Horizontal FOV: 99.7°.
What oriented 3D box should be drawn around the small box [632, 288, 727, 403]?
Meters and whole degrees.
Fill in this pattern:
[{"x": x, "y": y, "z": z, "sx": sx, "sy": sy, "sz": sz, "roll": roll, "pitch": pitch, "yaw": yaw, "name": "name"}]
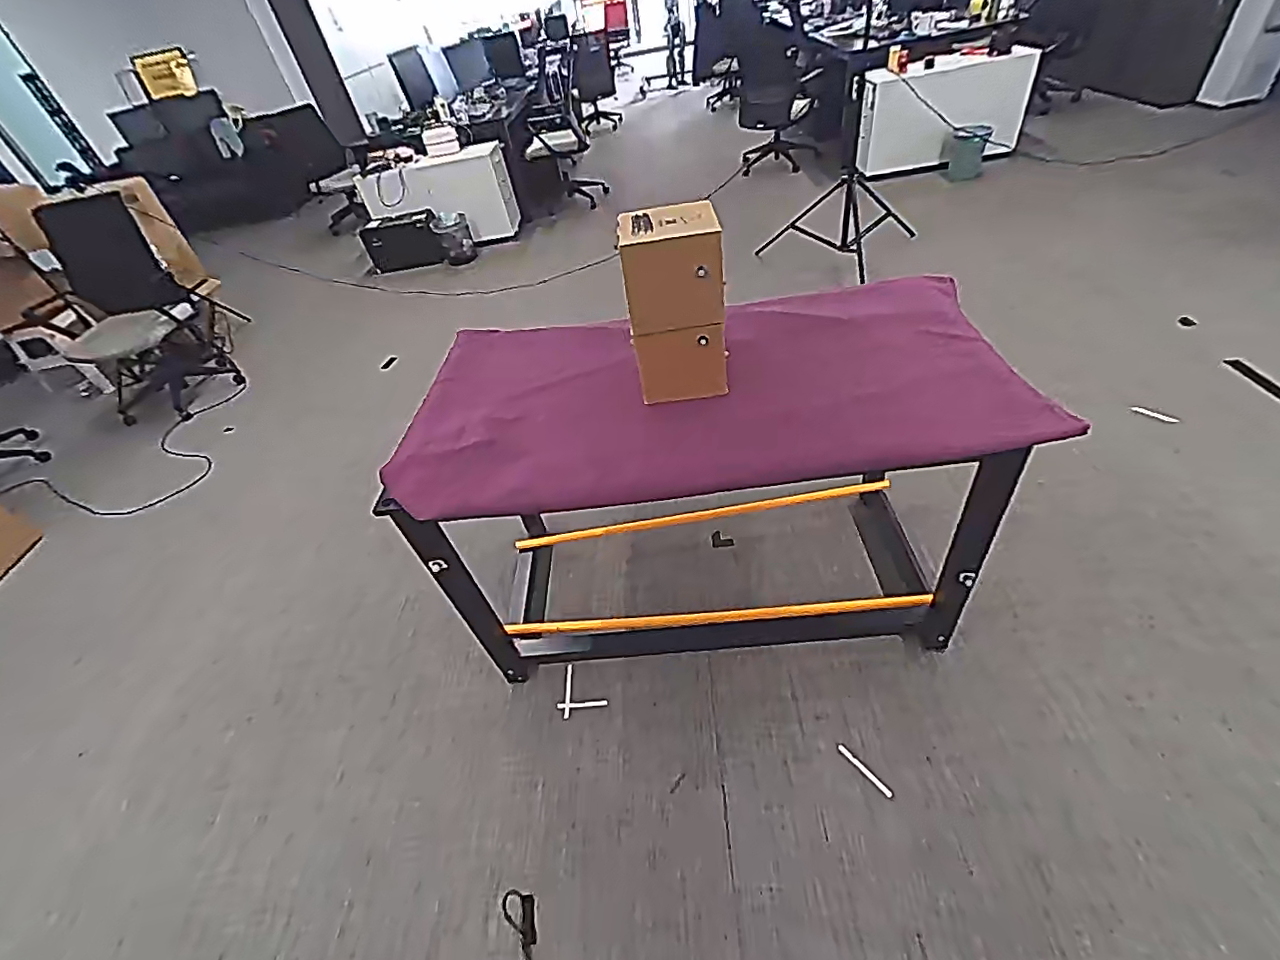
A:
[{"x": 0.083, "y": -0.276, "z": 1.124, "sx": 0.179, "sy": 0.176, "sz": 0.168, "roll": -6, "pitch": 43, "yaw": 6, "name": "small box"}]
